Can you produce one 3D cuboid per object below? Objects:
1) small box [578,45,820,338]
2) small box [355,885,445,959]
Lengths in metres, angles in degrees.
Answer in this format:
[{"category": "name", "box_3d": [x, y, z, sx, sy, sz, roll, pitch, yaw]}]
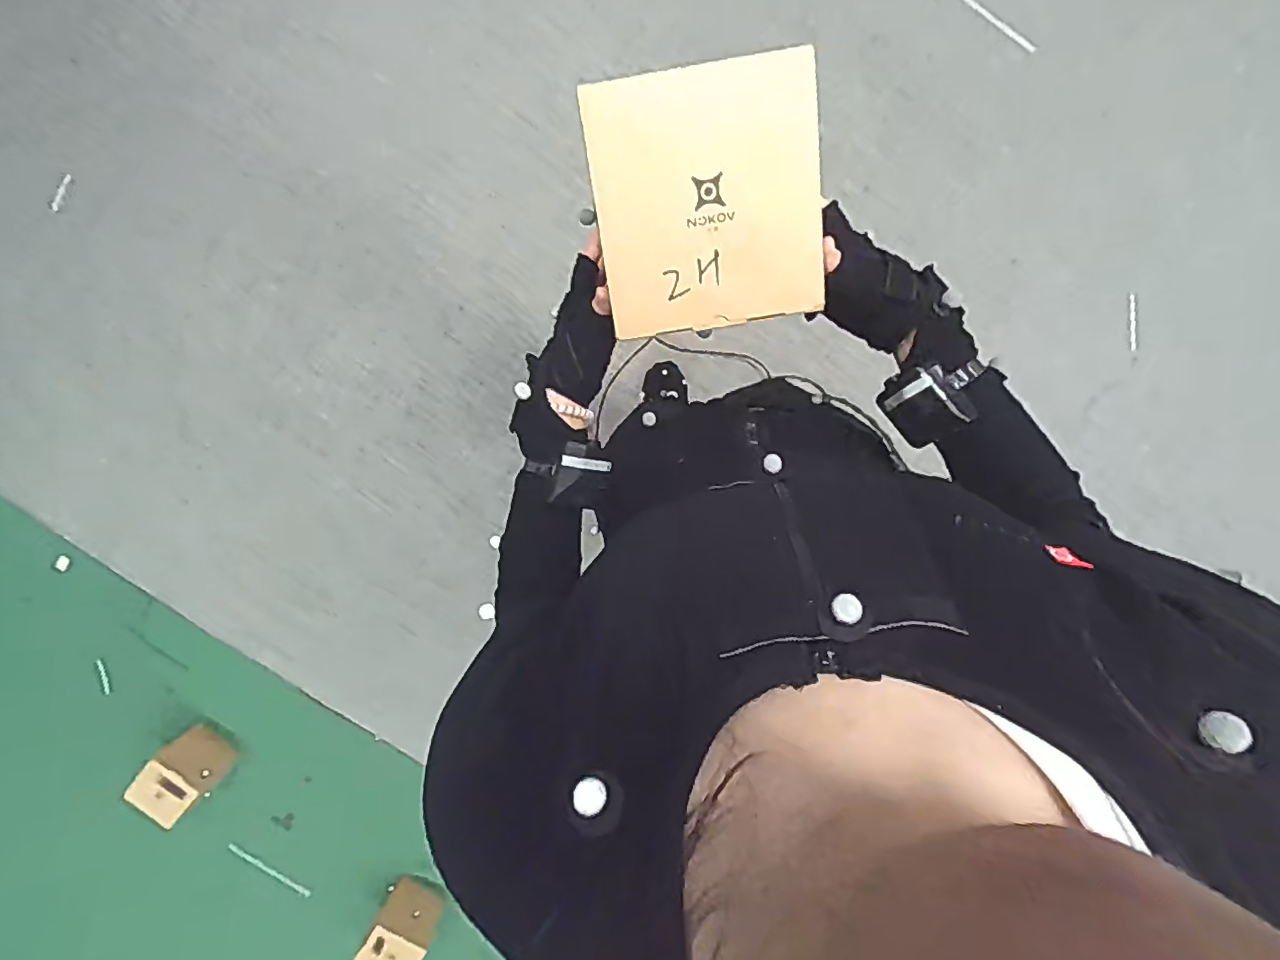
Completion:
[{"category": "small box", "box_3d": [0.045, -0.225, 0.466, 0.168, 0.176, 0.179, -7, 109, 2]}, {"category": "small box", "box_3d": [-0.750, 1.427, 1.697, 0.179, 0.176, 0.168, 32, 100, -5]}]
